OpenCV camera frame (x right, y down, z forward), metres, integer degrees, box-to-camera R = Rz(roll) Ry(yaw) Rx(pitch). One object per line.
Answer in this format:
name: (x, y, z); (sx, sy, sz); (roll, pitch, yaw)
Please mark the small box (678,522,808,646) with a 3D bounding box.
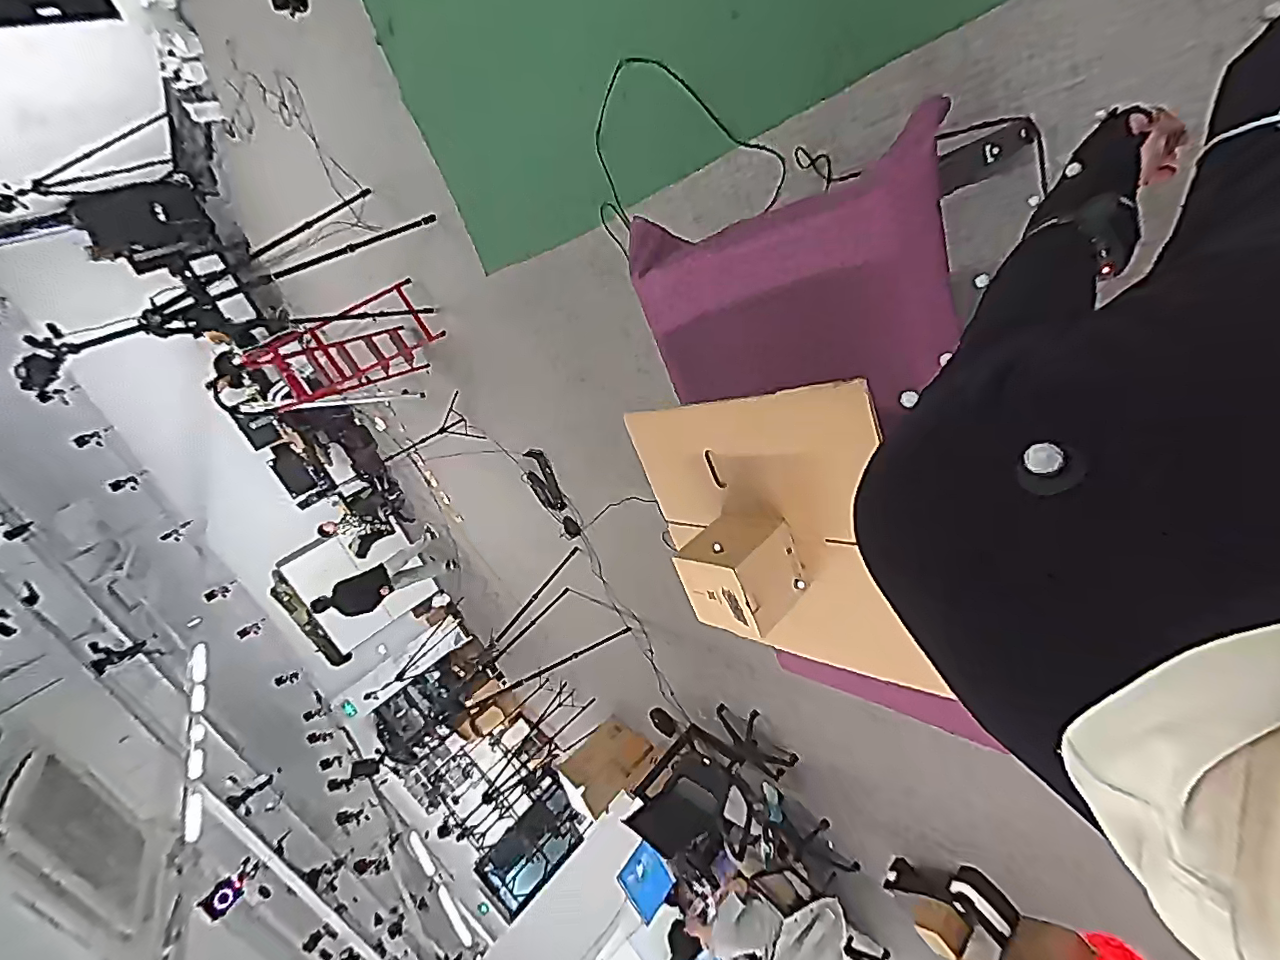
small box: (0.214, 0.198, 1.085); (0.179, 0.176, 0.168); (1, 119, 53)
